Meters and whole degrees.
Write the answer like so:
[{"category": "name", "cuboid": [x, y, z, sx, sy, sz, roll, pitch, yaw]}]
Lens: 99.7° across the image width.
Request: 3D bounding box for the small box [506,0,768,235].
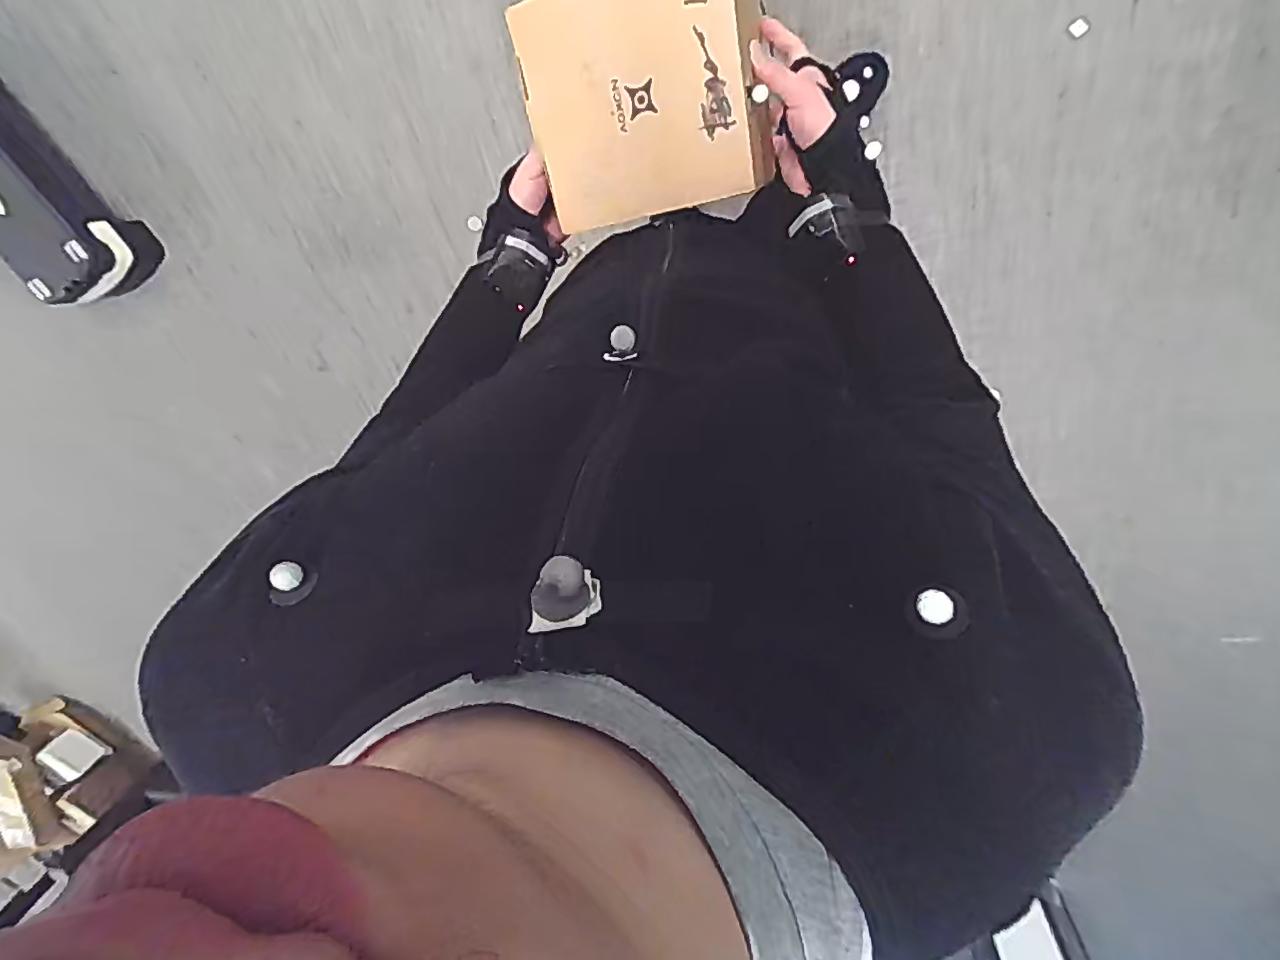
[{"category": "small box", "cuboid": [0.014, -0.332, 0.491, 0.179, 0.176, 0.168, -1, 120, 20]}]
